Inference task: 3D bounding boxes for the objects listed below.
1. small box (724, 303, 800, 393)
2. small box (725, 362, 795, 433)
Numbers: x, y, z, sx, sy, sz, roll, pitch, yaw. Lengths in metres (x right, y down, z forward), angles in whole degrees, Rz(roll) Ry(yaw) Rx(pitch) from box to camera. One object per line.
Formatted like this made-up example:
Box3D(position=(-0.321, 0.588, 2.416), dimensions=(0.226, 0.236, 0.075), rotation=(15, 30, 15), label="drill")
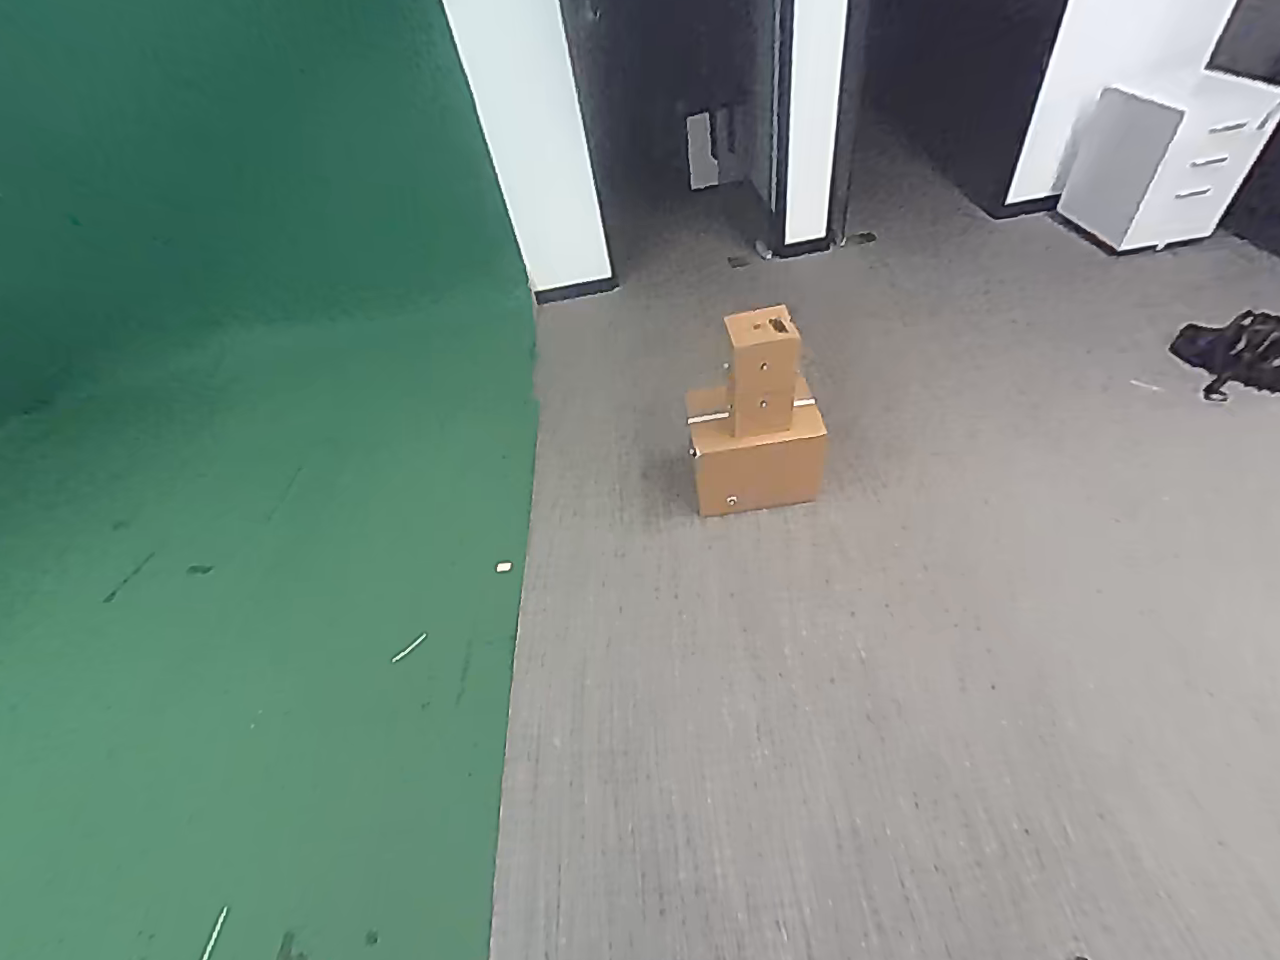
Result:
Box3D(position=(0.340, -0.369, 1.524), dimensions=(0.179, 0.176, 0.168), rotation=(-11, 47, 5), label="small box")
Box3D(position=(0.364, -0.262, 1.647), dimensions=(0.179, 0.176, 0.168), rotation=(-10, 47, 3), label="small box")
